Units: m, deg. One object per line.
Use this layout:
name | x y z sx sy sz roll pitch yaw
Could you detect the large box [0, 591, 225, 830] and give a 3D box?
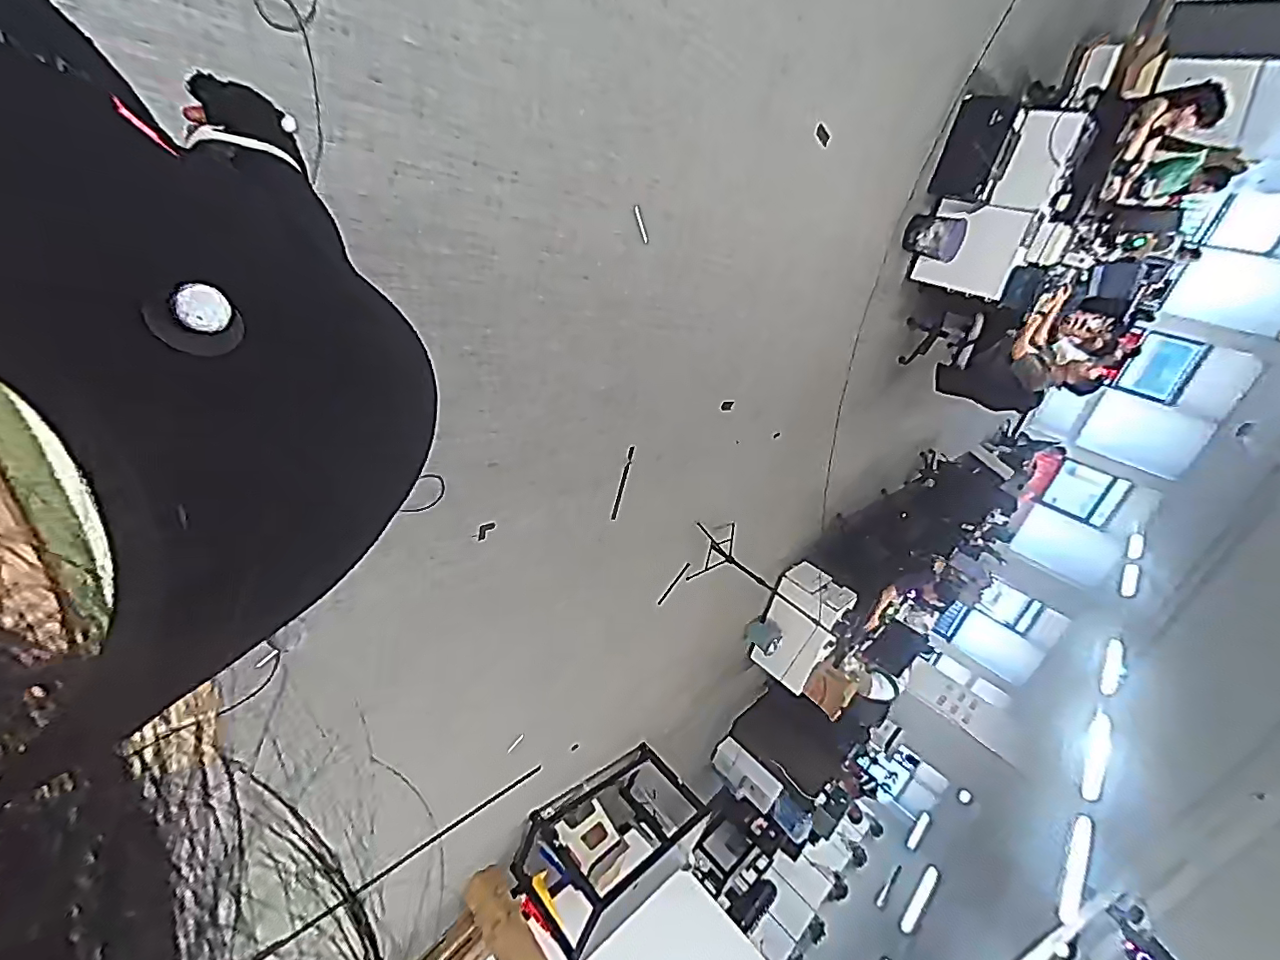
large box | -1.268 0.506 1.271 0.408 0.320 0.320 -6 122 -49
